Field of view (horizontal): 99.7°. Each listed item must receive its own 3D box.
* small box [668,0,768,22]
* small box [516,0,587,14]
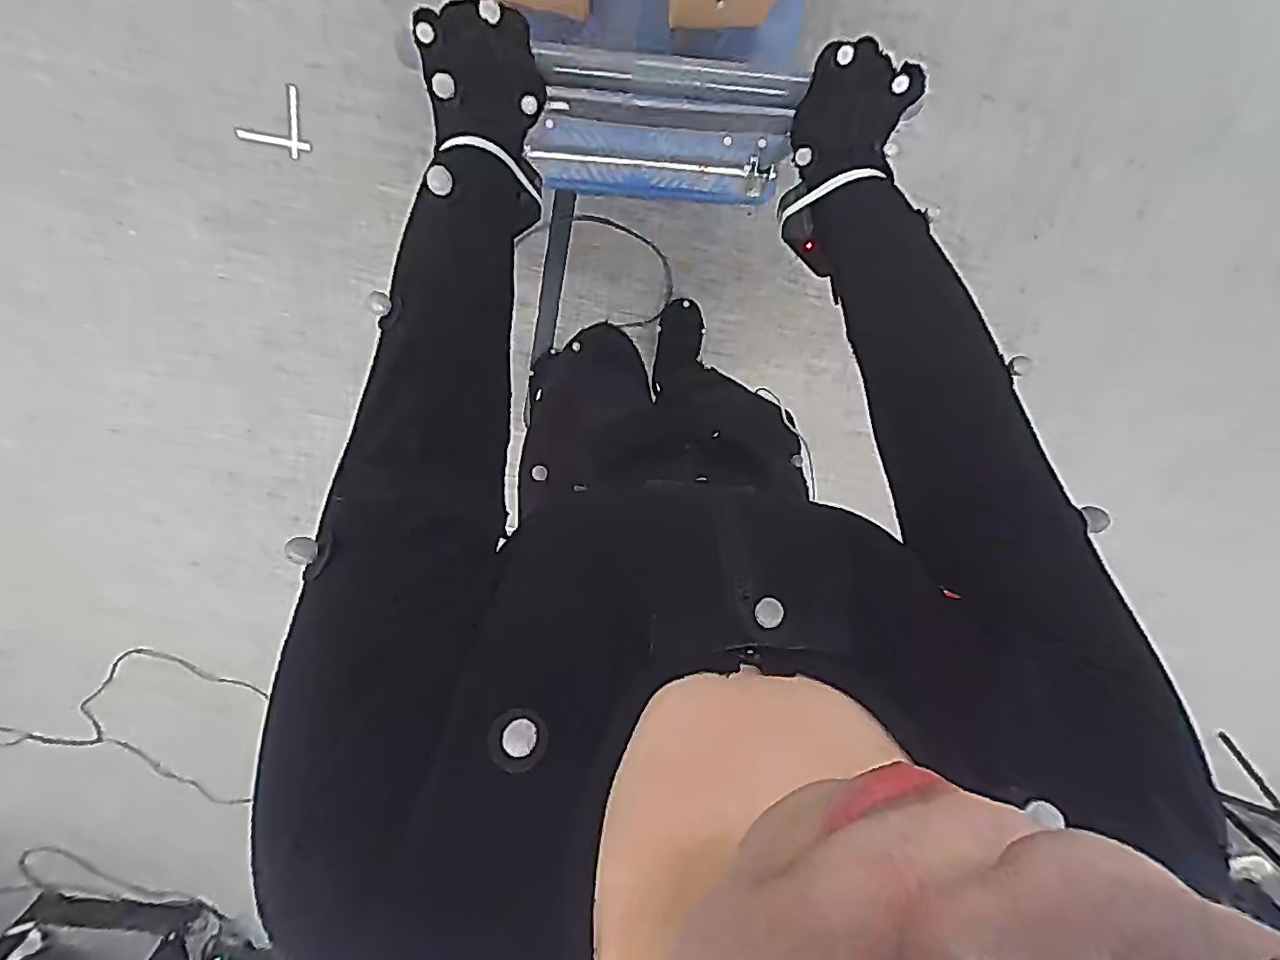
[{"bbox_3d":[0.137,-0.884,0.886,0.179,0.176,0.168,-2,112,-1],"label":"small box"},{"bbox_3d":[-0.167,-0.897,0.868,0.179,0.176,0.168,8,111,-7],"label":"small box"}]
